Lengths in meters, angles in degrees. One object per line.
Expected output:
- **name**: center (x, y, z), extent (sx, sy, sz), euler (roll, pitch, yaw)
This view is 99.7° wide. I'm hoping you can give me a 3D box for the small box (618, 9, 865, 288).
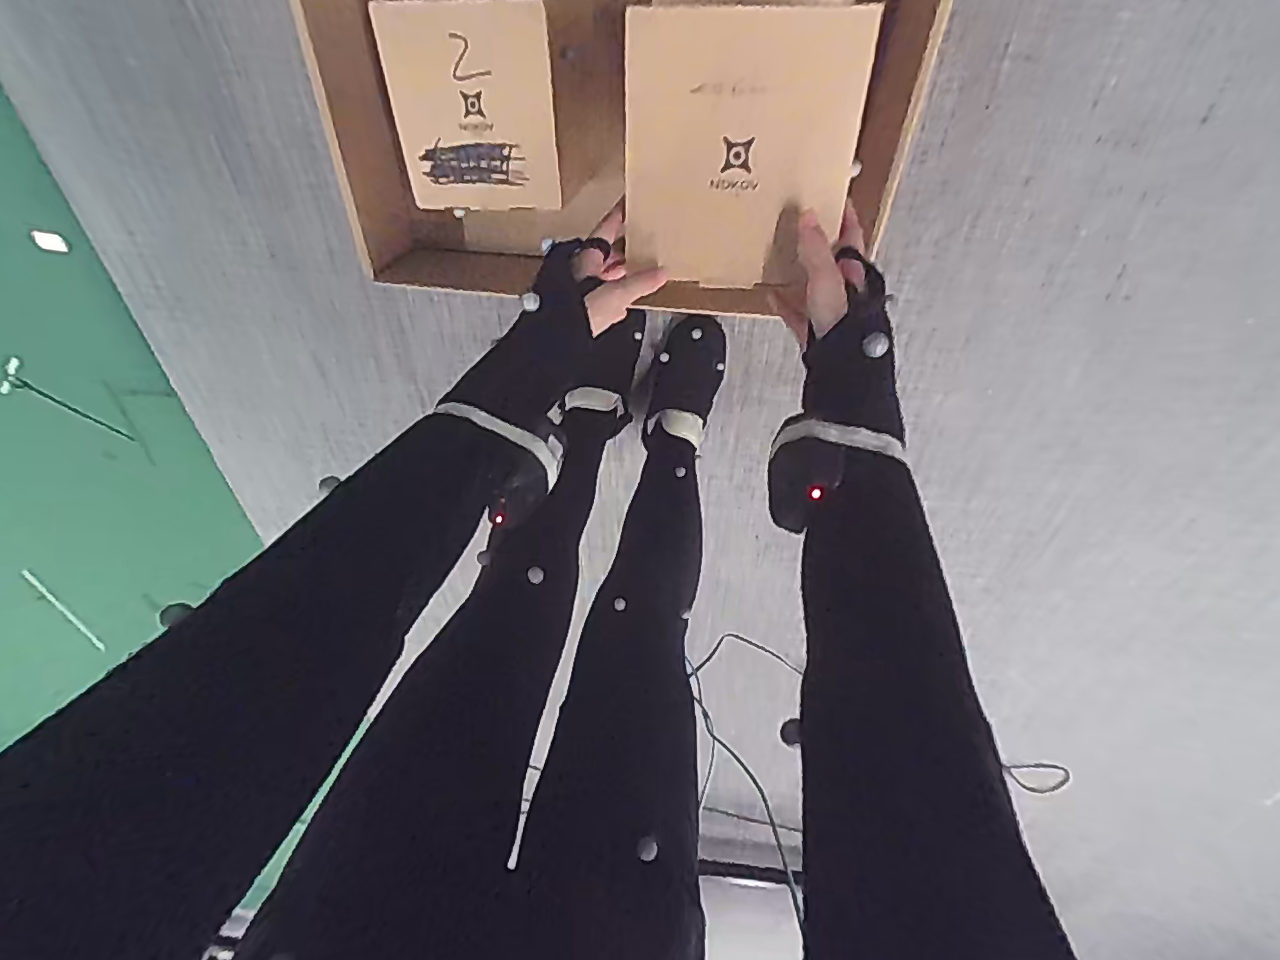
- **small box**: center (0.074, -0.278, 0.470), extent (0.168, 0.176, 0.179), euler (4, 121, 4)
